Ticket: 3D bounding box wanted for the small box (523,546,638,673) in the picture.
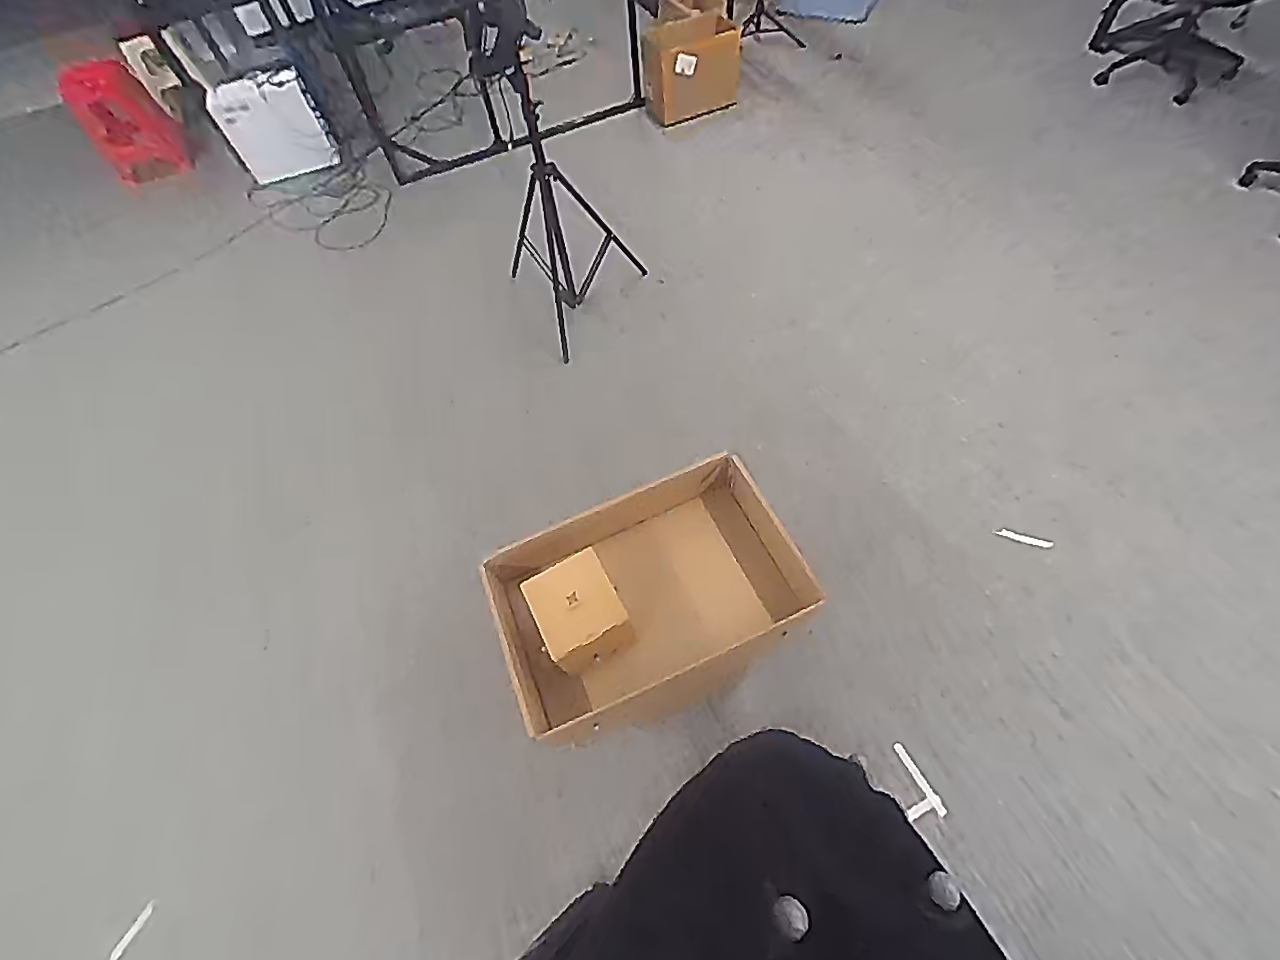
[{"bbox_3d":[-0.119,0.275,1.128,0.168,0.176,0.179,-28,61,-9],"label":"small box"}]
